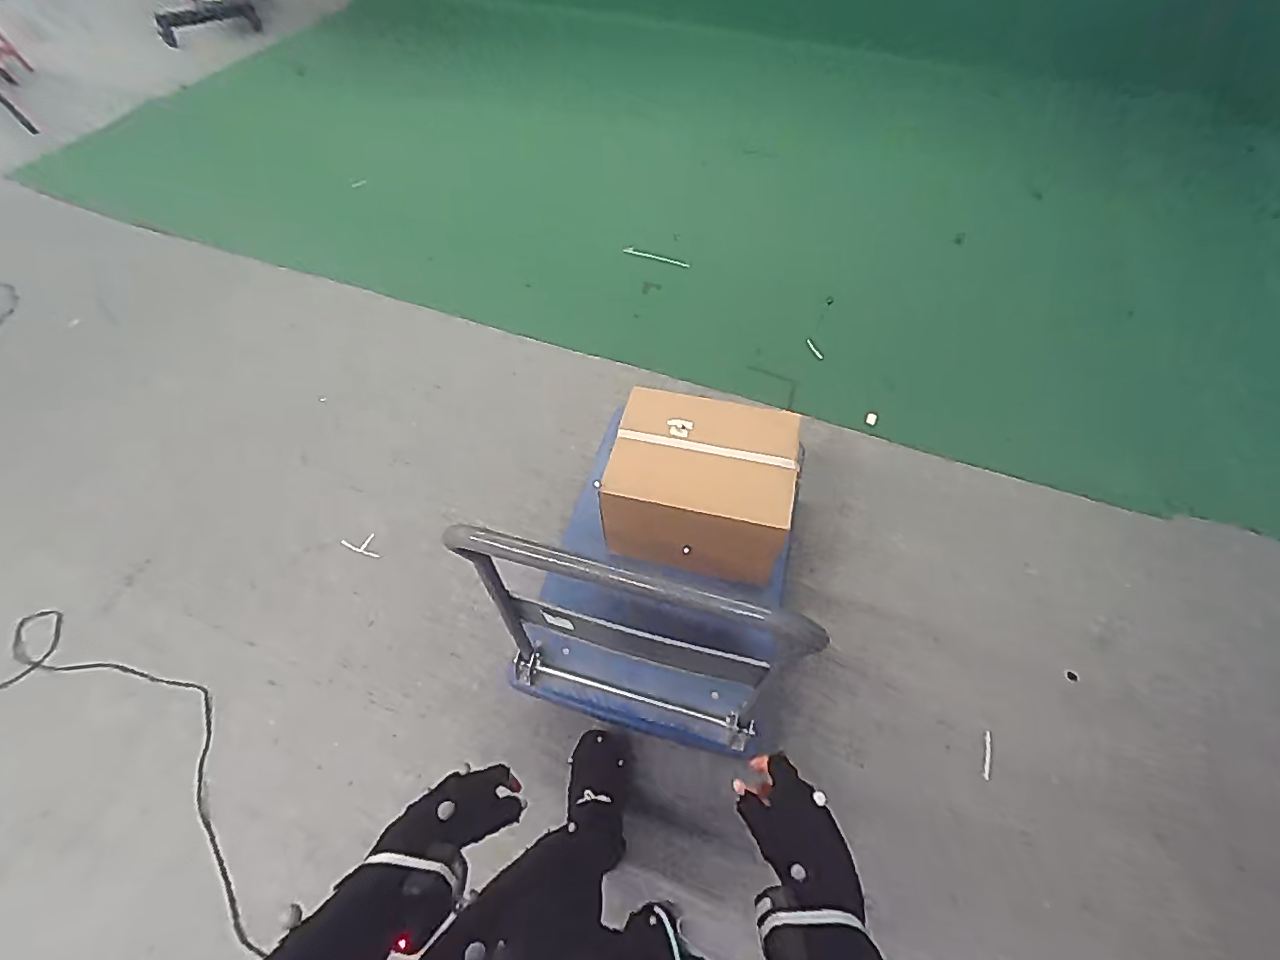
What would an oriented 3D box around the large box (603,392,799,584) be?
[{"bbox_3d":[0.151,0.025,1.328,0.408,0.320,0.320,11,56,9],"label":"large box"}]
